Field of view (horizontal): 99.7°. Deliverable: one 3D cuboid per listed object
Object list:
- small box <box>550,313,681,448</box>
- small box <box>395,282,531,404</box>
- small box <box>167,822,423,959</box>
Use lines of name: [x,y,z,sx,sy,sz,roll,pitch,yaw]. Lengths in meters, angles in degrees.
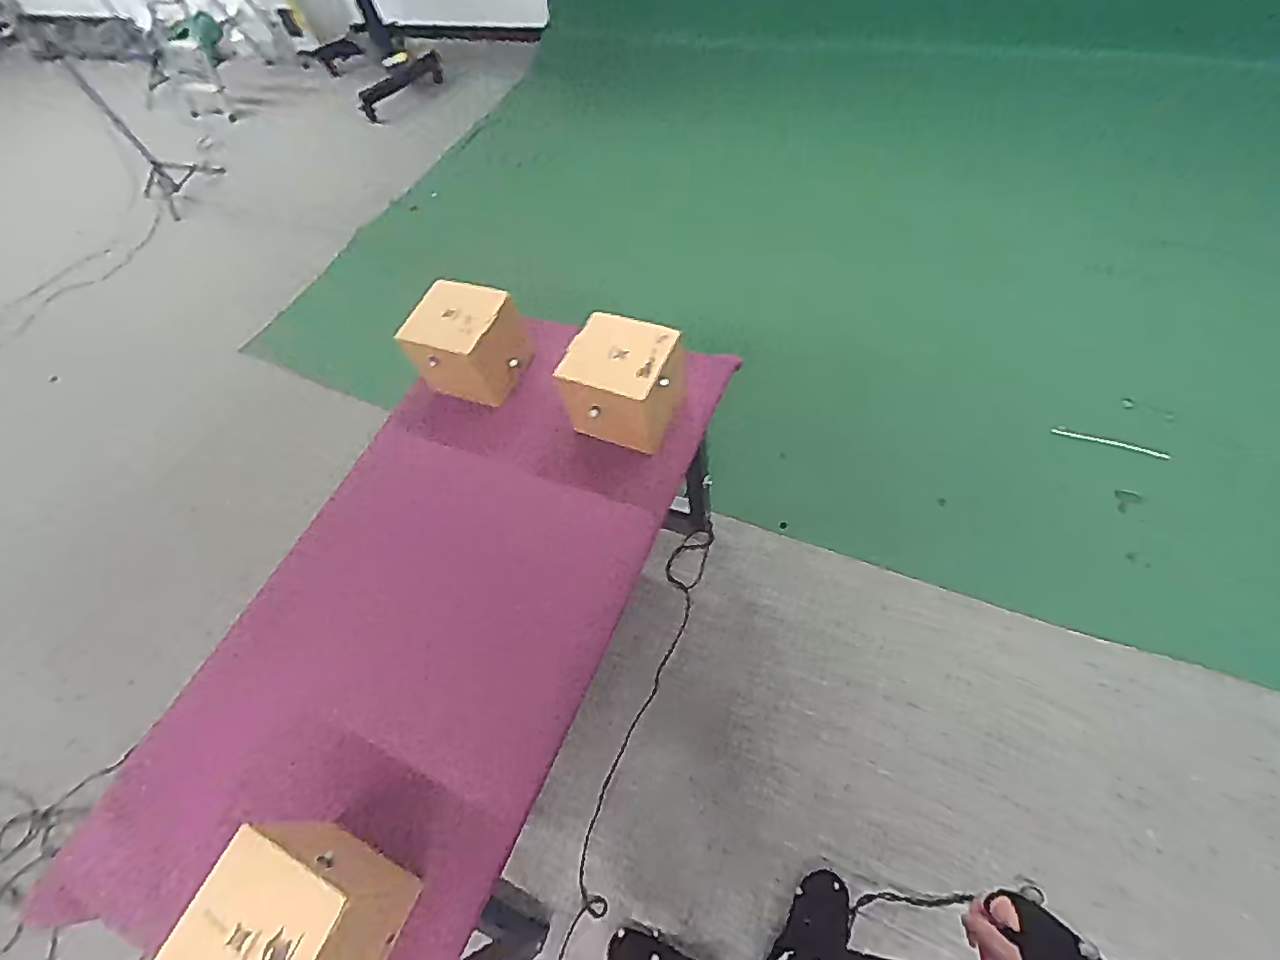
small box: [-0.036,-0.181,1.012,0.179,0.176,0.168,18,66,19]
small box: [-0.358,-0.279,1.125,0.179,0.176,0.168,16,67,17]
small box: [-0.408,0.543,0.665,0.179,0.176,0.168,16,64,20]
